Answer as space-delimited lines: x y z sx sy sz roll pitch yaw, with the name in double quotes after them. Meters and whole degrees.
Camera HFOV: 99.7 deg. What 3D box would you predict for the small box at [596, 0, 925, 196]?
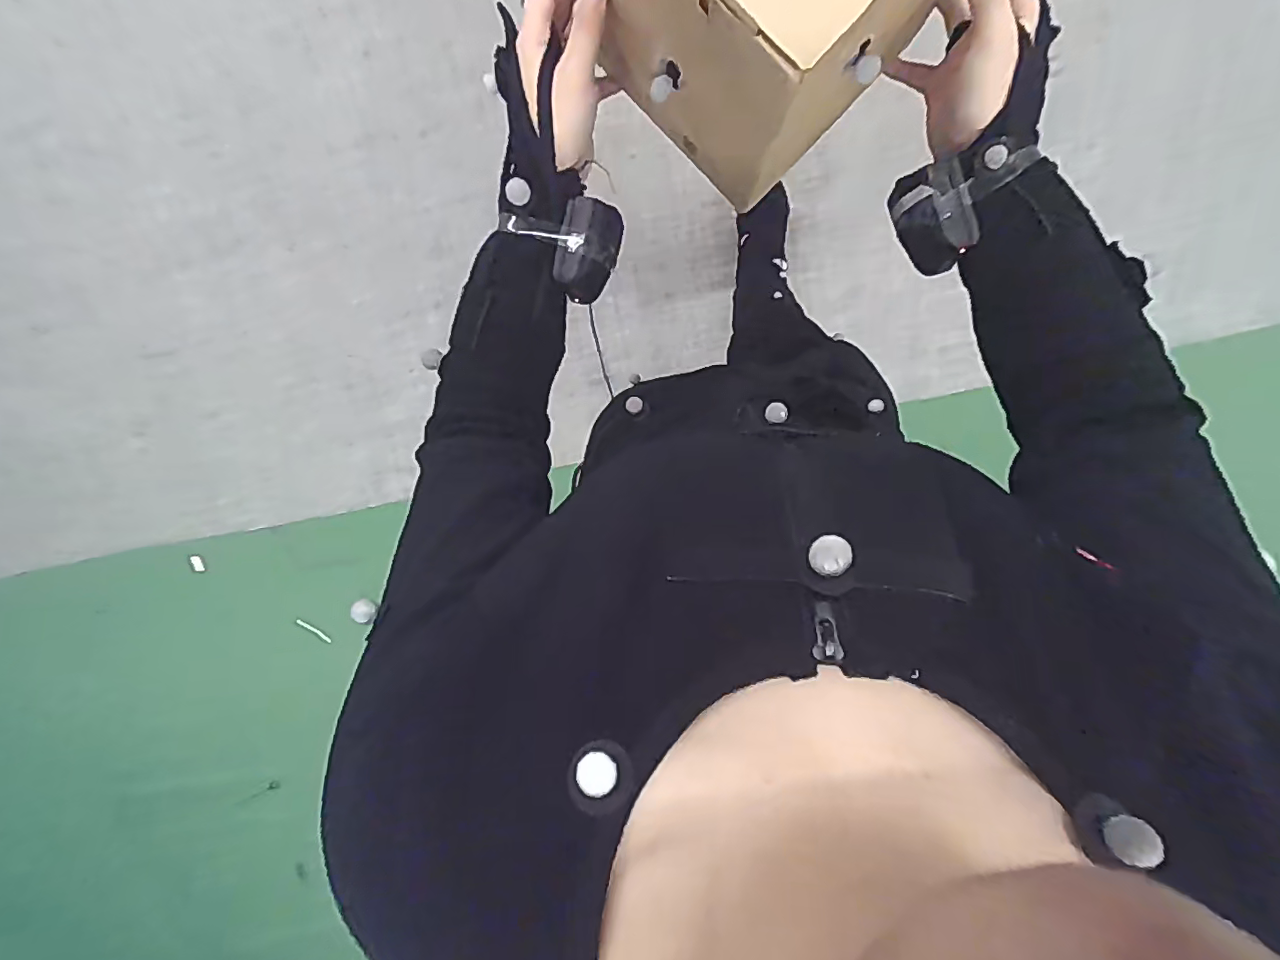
0.080 -0.320 0.332 0.168 0.176 0.179 44 96 -3 "small box"
